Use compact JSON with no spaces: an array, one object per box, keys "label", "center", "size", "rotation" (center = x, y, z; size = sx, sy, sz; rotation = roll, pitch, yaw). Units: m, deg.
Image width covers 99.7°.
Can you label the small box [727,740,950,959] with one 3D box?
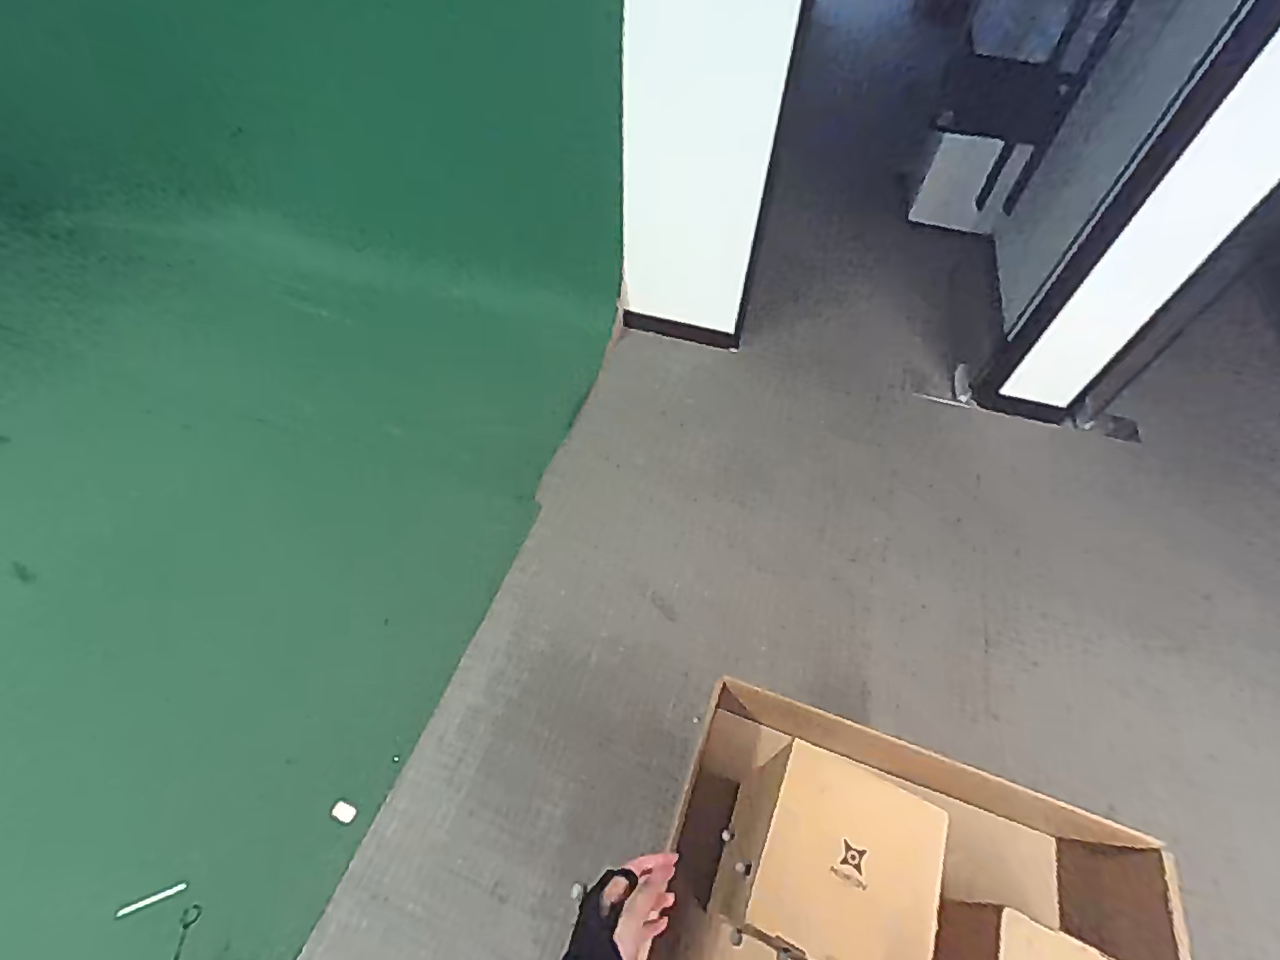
[{"label":"small box","center":[0.205,0.420,0.587],"size":[0.168,0.176,0.179],"rotation":[22,56,14]}]
